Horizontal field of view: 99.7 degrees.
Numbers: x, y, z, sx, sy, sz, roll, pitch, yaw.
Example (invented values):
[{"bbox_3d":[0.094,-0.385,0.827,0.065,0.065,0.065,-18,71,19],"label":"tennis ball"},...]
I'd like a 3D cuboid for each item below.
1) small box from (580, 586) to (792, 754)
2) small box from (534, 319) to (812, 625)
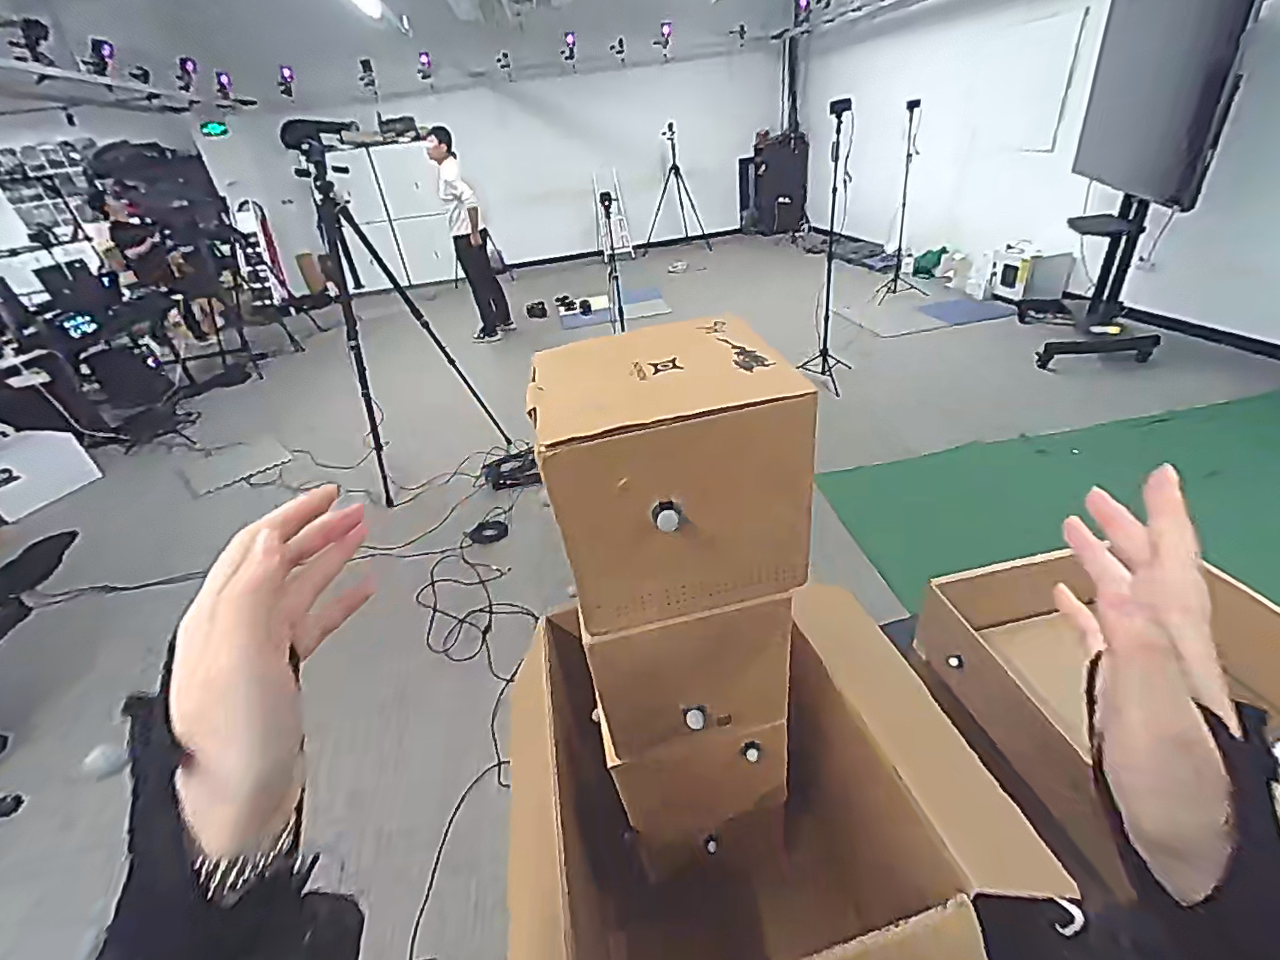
[{"bbox_3d":[0.034,0.127,0.525,0.168,0.176,0.179,-12,36,-4],"label":"small box"},{"bbox_3d":[0.022,-0.009,0.433,0.179,0.176,0.168,-12,35,-3],"label":"small box"}]
